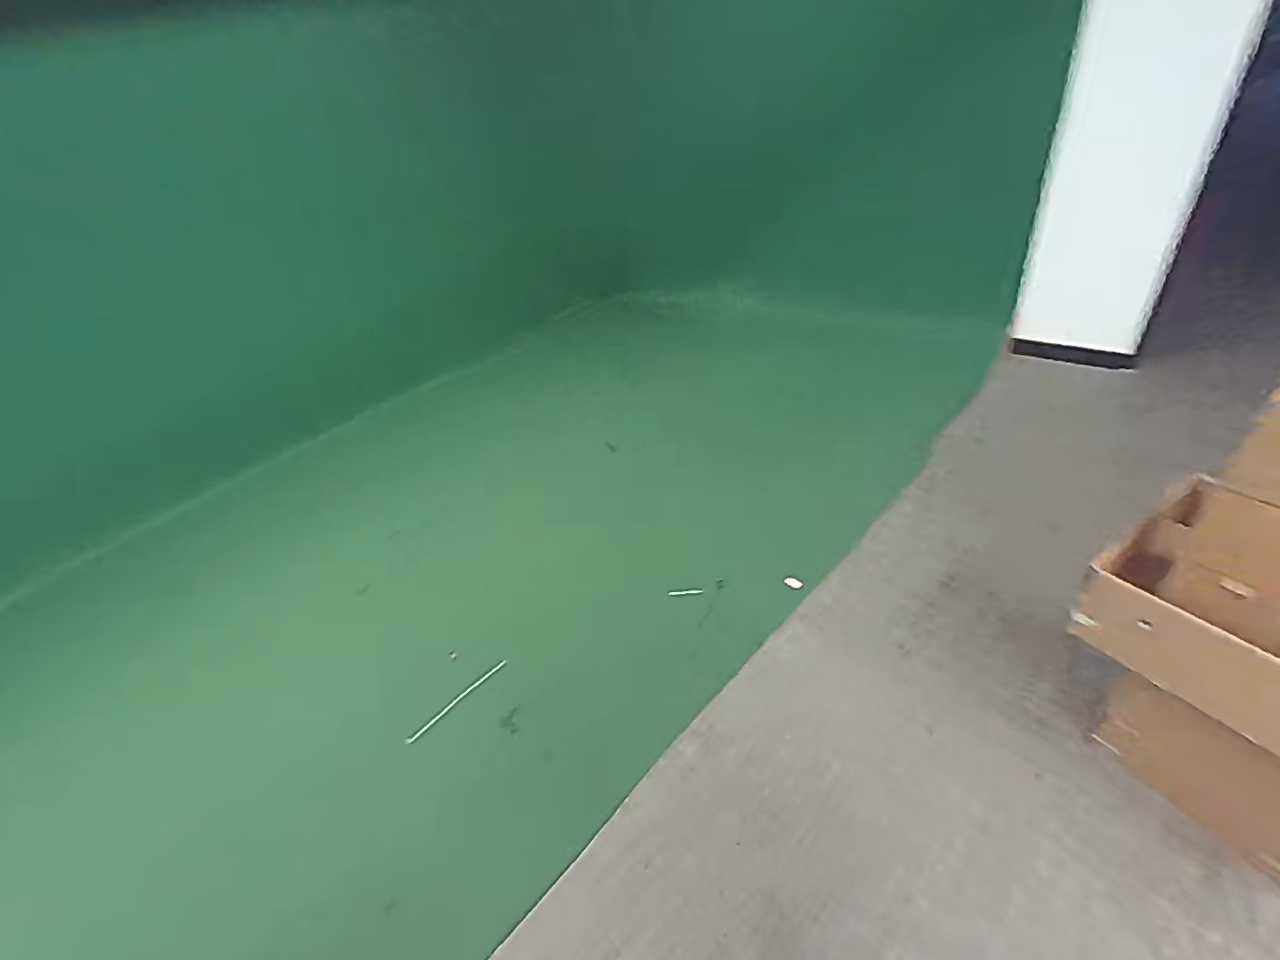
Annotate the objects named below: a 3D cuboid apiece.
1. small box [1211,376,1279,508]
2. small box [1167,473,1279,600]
[{"bbox_3d":[1.018,-0.054,0.799,0.168,0.176,0.179,-31,43,-20],"label":"small box"},{"bbox_3d":[1.050,0.069,0.904,0.168,0.176,0.179,-31,42,-19],"label":"small box"}]
